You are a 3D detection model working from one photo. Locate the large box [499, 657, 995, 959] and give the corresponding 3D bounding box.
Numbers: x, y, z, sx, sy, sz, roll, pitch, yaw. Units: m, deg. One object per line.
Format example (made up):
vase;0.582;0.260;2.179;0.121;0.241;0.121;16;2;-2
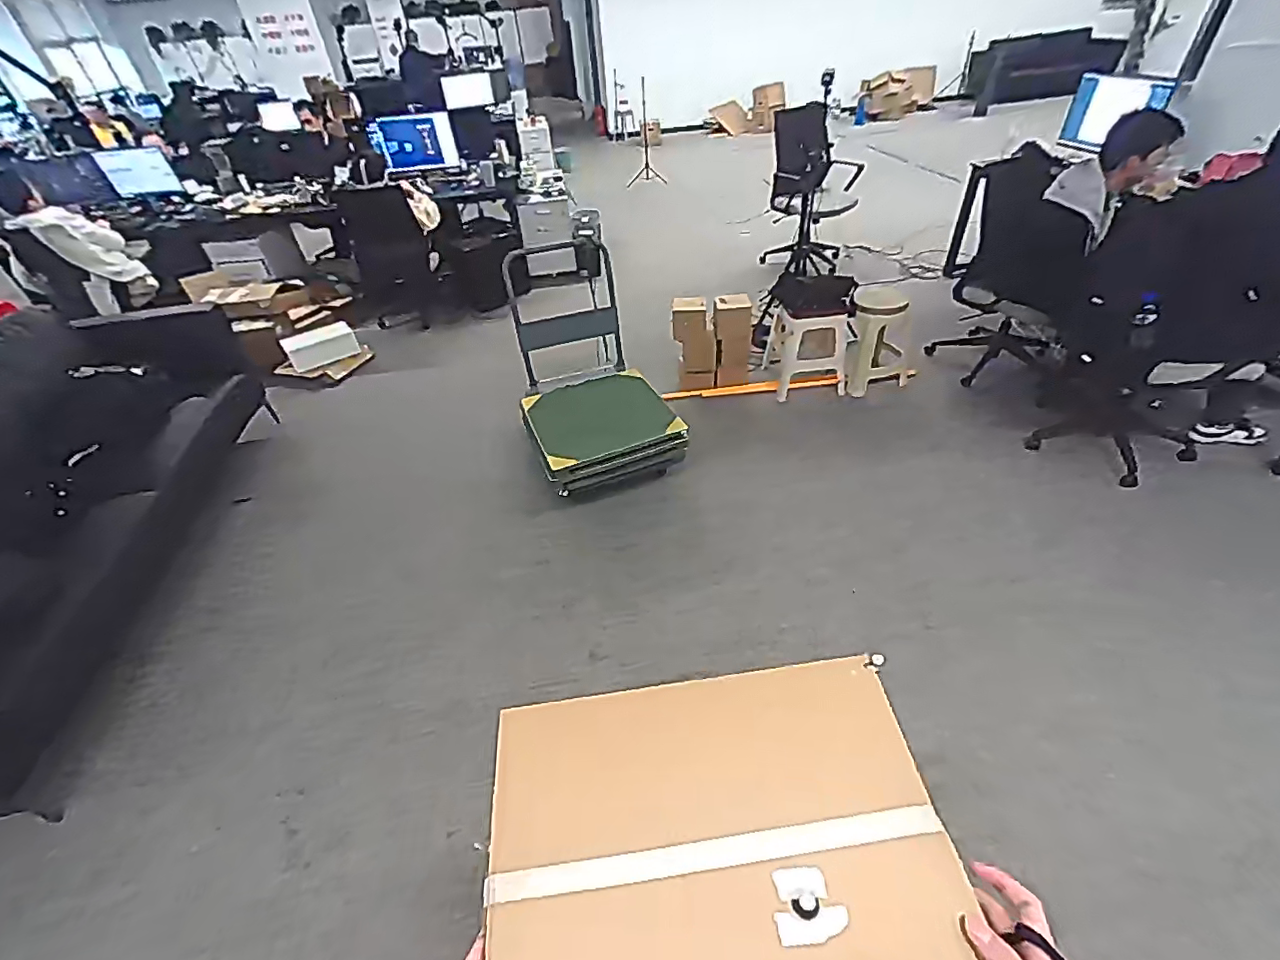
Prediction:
large box;0.082;0.437;0.597;0.408;0.320;0.320;-8;48;-1
